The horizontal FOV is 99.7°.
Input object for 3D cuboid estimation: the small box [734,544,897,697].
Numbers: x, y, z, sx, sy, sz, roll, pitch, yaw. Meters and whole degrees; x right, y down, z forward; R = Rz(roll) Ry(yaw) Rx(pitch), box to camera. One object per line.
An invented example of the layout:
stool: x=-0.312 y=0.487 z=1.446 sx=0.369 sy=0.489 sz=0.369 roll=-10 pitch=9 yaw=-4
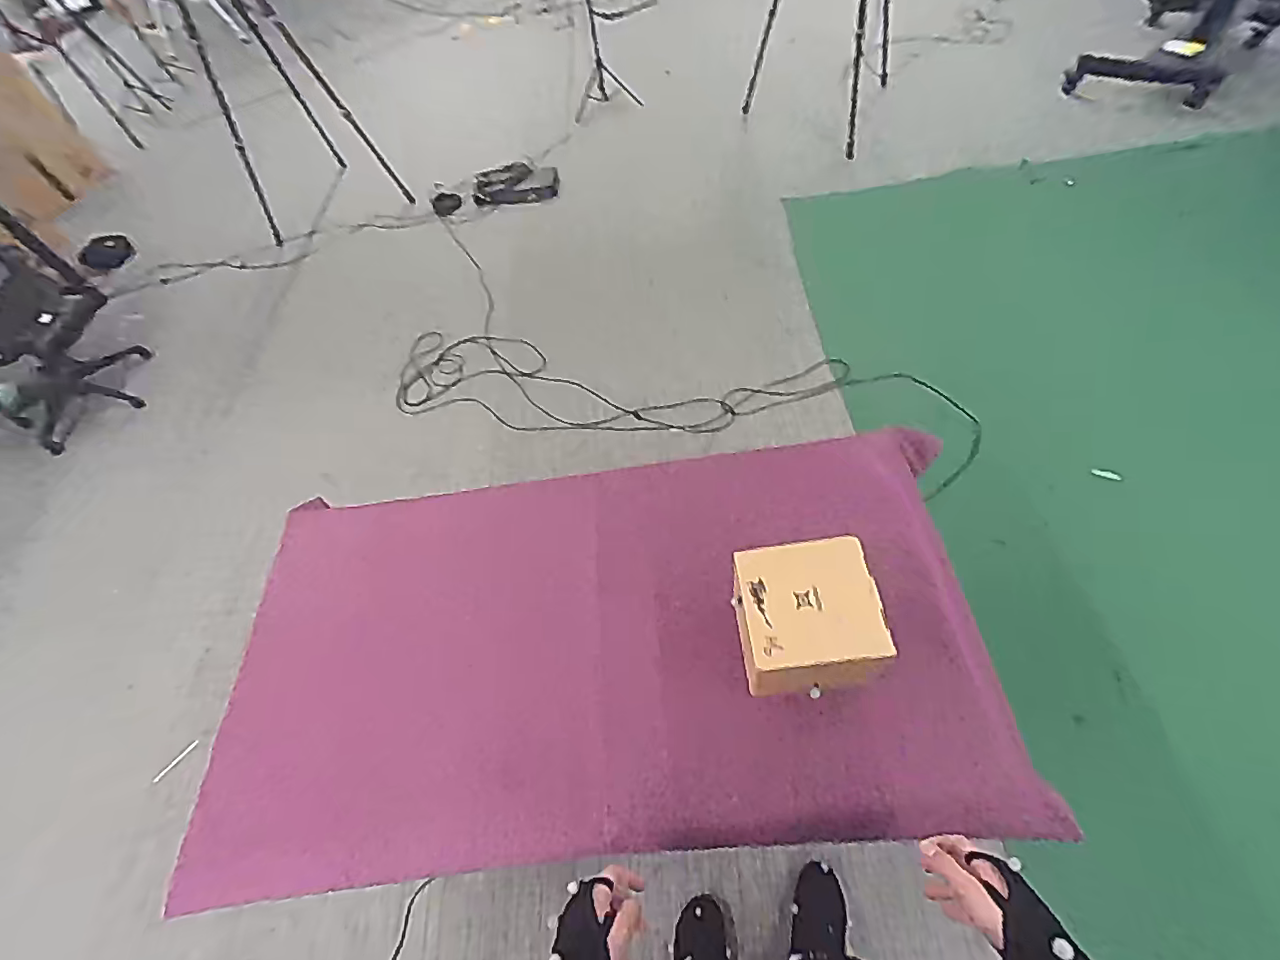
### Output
small box: x=0.234 y=0.206 z=0.774 sx=0.179 sy=0.176 sz=0.168 roll=-6 pitch=57 yaw=4
